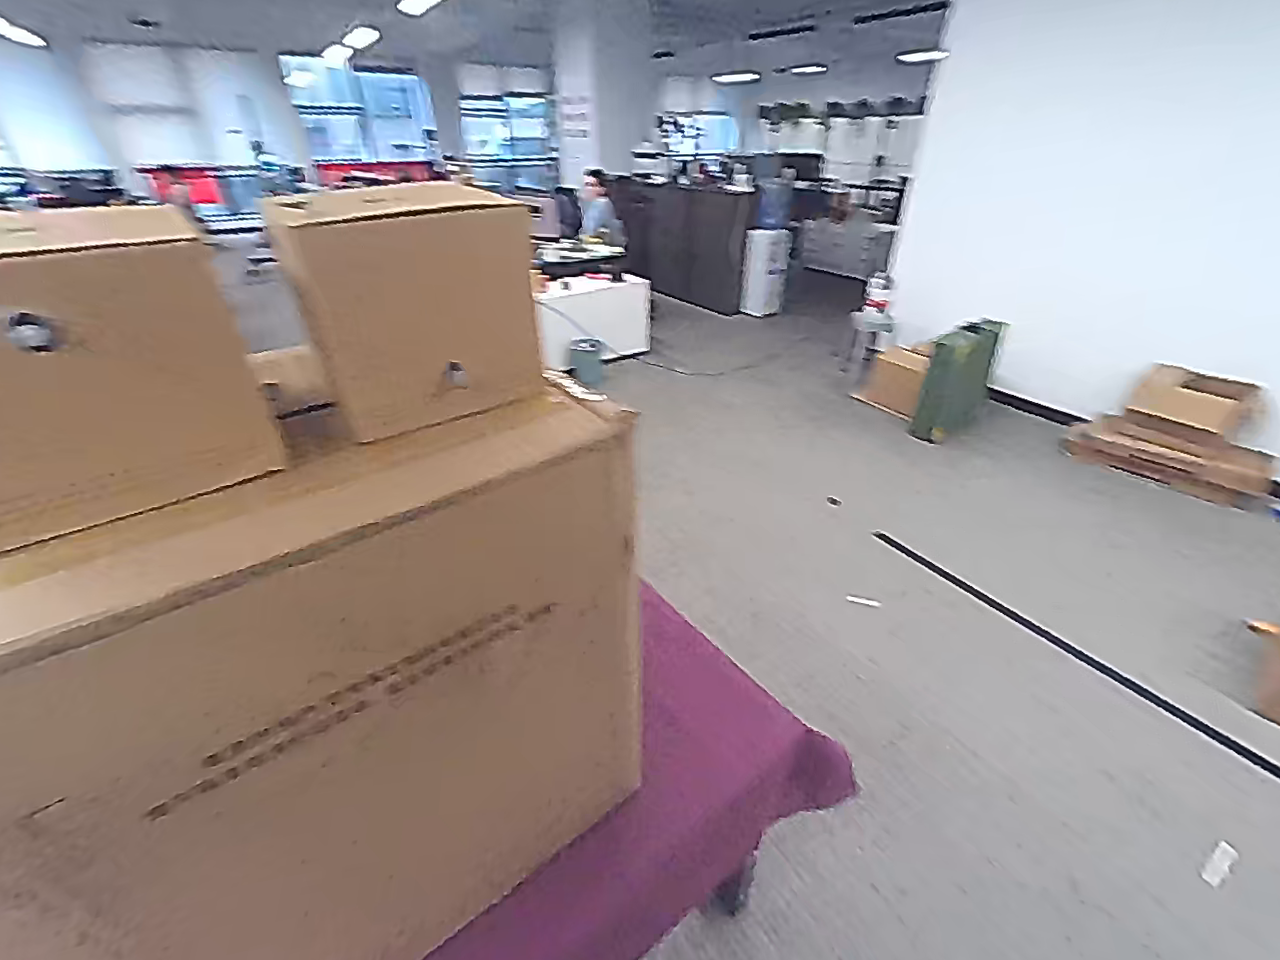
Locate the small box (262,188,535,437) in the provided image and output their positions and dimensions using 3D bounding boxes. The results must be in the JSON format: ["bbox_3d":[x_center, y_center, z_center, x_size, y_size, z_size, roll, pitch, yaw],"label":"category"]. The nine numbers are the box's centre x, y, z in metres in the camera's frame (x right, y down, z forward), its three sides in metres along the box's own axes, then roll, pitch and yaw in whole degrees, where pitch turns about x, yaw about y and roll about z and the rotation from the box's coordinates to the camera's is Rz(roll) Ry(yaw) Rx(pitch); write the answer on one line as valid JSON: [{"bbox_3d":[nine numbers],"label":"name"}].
[{"bbox_3d":[-0.208,-0.161,0.495,0.179,0.176,0.168,-22,39,-30],"label":"small box"}]
